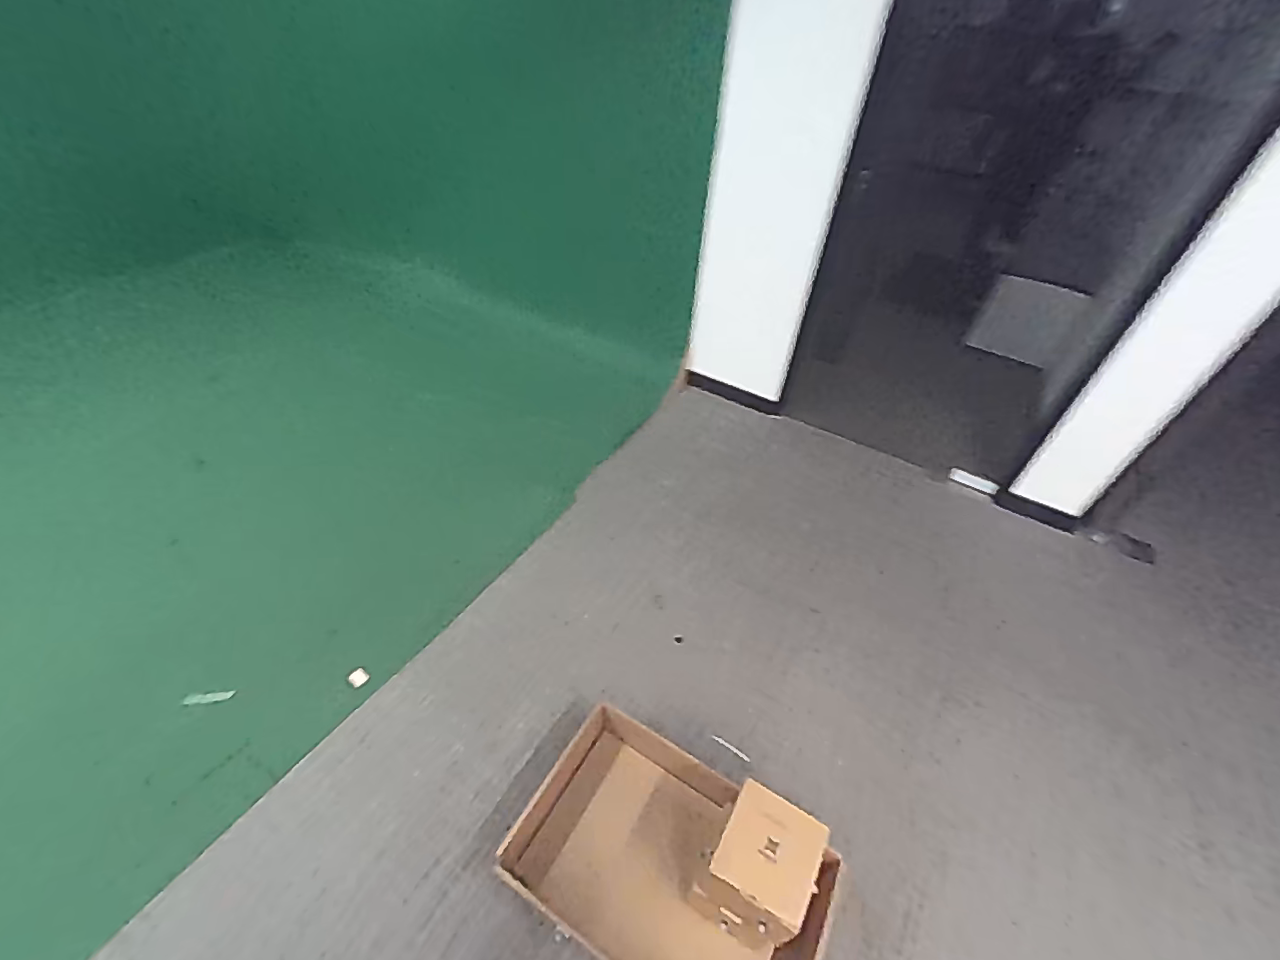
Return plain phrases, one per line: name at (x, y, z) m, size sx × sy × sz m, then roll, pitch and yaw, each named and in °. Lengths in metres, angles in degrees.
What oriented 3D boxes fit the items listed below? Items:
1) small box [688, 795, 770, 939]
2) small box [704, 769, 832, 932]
small box at (0.208, 0.810, 1.128) m, size 0.168 × 0.176 × 0.179 m, roll 21°, pitch 46°, yaw 19°
small box at (0.229, 0.685, 0.997) m, size 0.168 × 0.176 × 0.179 m, roll 25°, pitch 48°, yaw 21°
